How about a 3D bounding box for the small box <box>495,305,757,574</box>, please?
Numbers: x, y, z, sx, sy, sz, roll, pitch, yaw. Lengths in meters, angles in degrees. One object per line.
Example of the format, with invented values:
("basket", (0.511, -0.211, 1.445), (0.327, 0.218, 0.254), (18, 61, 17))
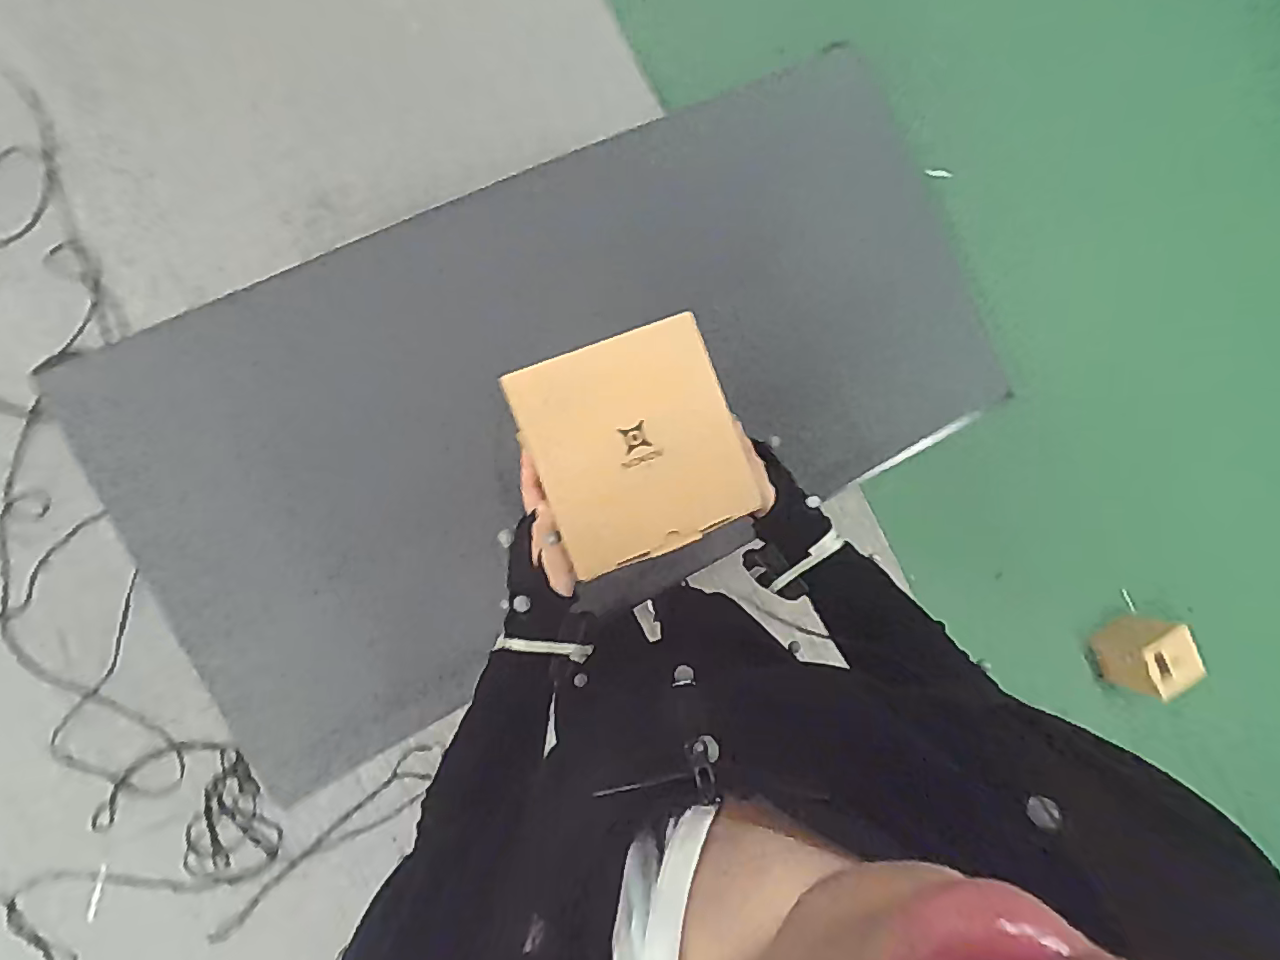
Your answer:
("small box", (-0.022, -0.031, 0.504), (0.168, 0.176, 0.179), (-22, 91, -9))
